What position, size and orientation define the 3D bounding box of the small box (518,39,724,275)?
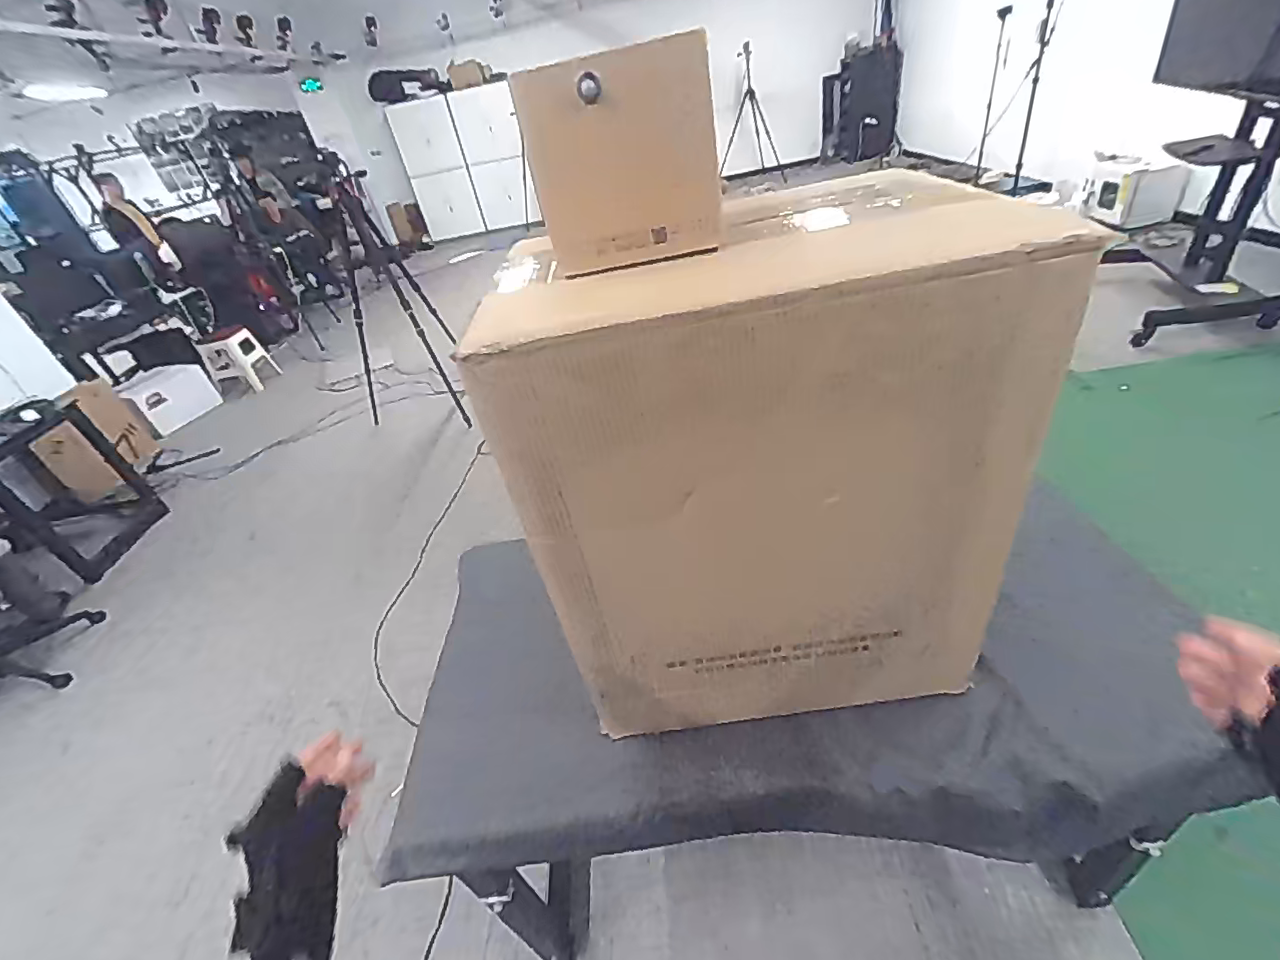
[{"bbox_3d":[-0.010,-0.326,0.561,0.168,0.176,0.179,-9,34,6],"label":"small box"}]
